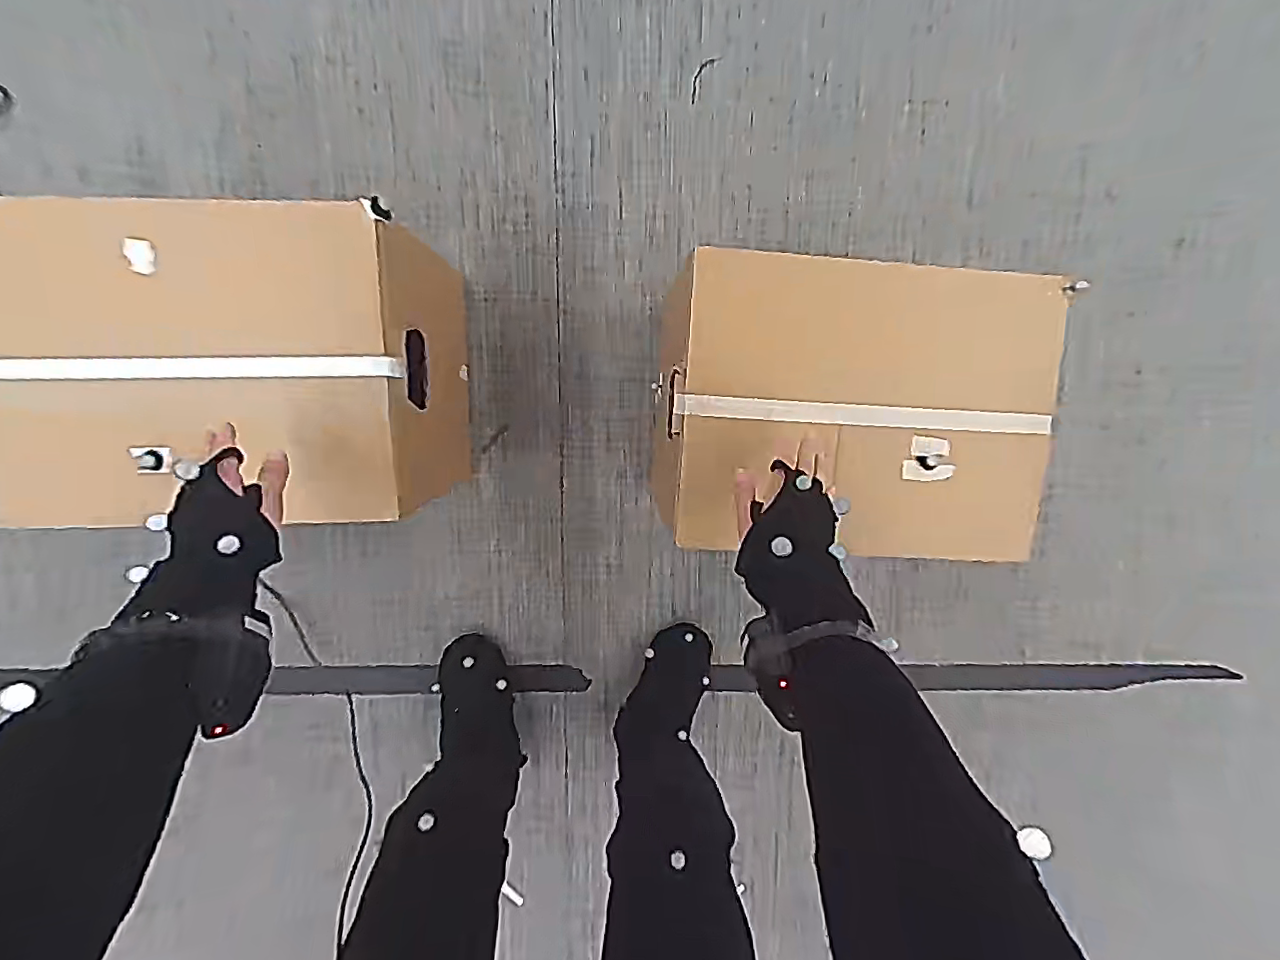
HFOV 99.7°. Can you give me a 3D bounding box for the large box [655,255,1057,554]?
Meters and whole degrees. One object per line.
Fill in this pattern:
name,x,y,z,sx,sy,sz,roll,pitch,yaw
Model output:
large box,0.238,-0.091,0.736,0.408,0.320,0.320,3,98,-5
